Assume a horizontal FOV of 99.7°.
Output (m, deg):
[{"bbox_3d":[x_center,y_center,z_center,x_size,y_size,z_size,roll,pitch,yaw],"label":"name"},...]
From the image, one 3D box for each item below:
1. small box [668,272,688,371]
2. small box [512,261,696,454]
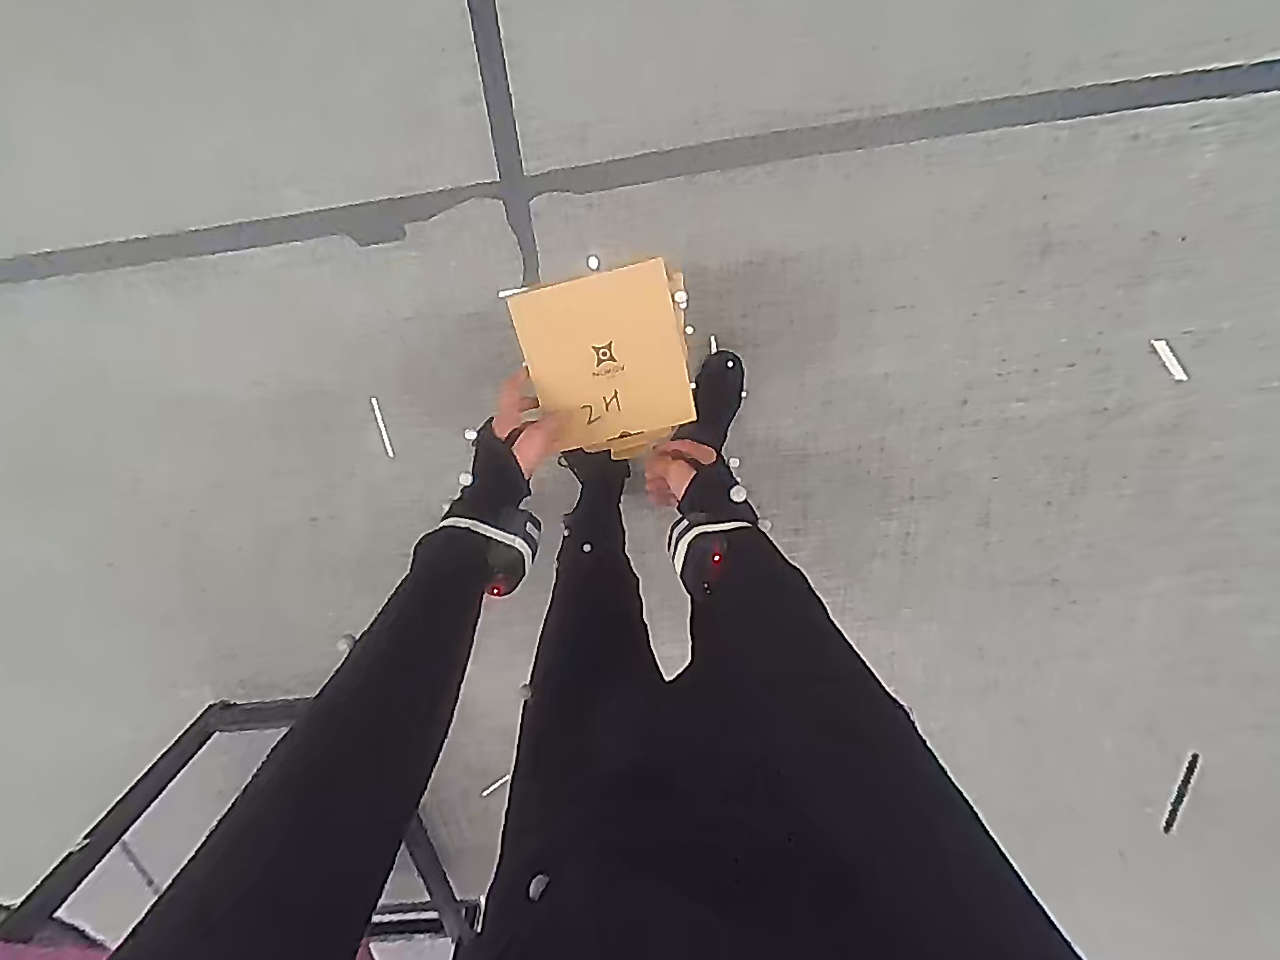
[{"bbox_3d":[-0.004,-0.271,0.955,0.168,0.176,0.179,-2,115,2],"label":"small box"},{"bbox_3d":[-0.034,-0.154,0.648,0.168,0.176,0.179,-12,114,7],"label":"small box"}]
